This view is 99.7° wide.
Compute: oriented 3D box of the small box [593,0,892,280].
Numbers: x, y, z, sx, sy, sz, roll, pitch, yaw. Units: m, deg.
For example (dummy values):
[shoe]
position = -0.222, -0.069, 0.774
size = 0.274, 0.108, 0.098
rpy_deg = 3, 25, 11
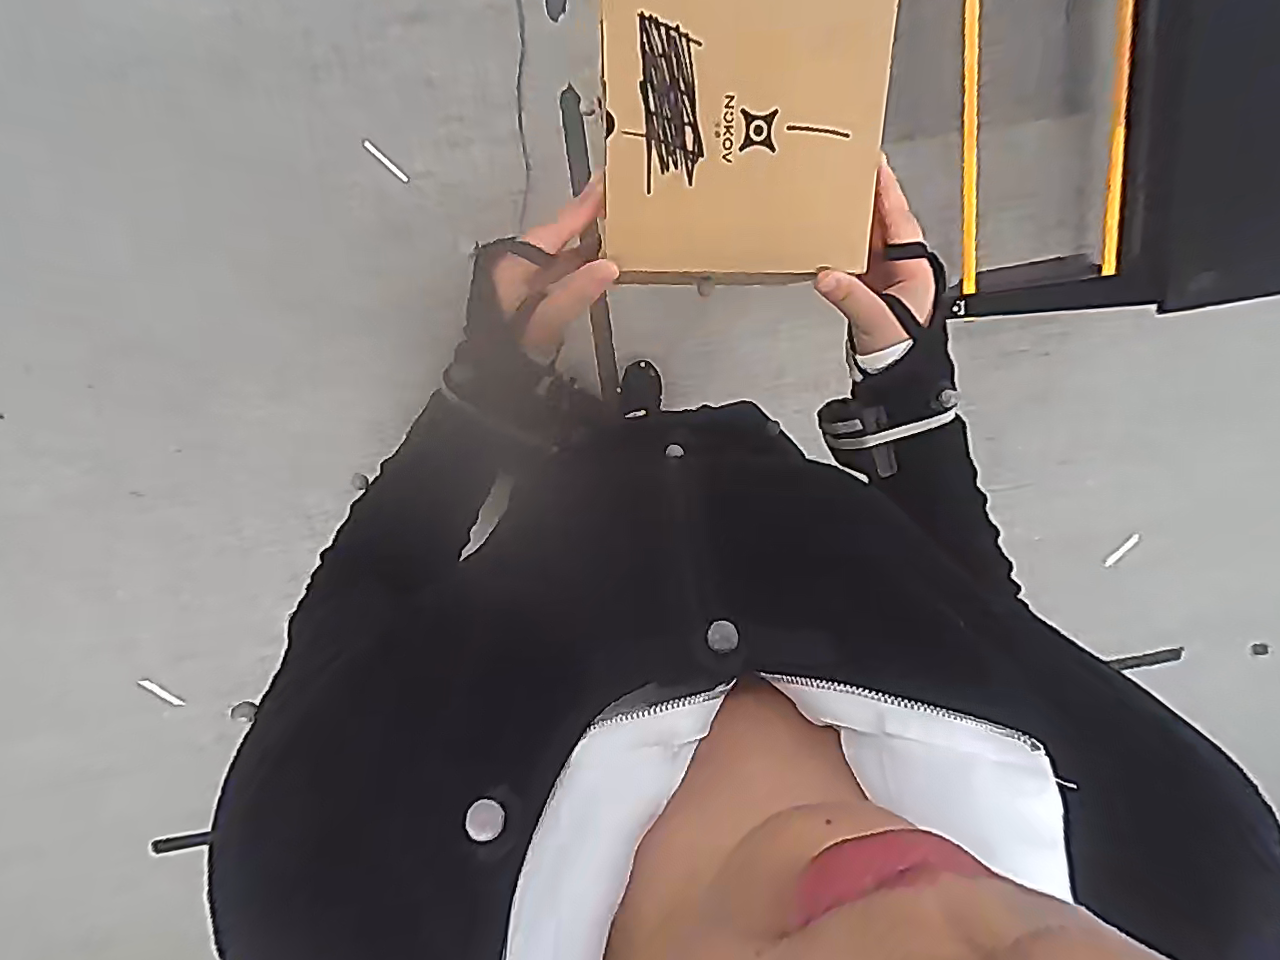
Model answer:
[small box]
position = 0.055, -0.242, 0.405
size = 0.179, 0.176, 0.168
rpy_deg = -1, 108, -5
